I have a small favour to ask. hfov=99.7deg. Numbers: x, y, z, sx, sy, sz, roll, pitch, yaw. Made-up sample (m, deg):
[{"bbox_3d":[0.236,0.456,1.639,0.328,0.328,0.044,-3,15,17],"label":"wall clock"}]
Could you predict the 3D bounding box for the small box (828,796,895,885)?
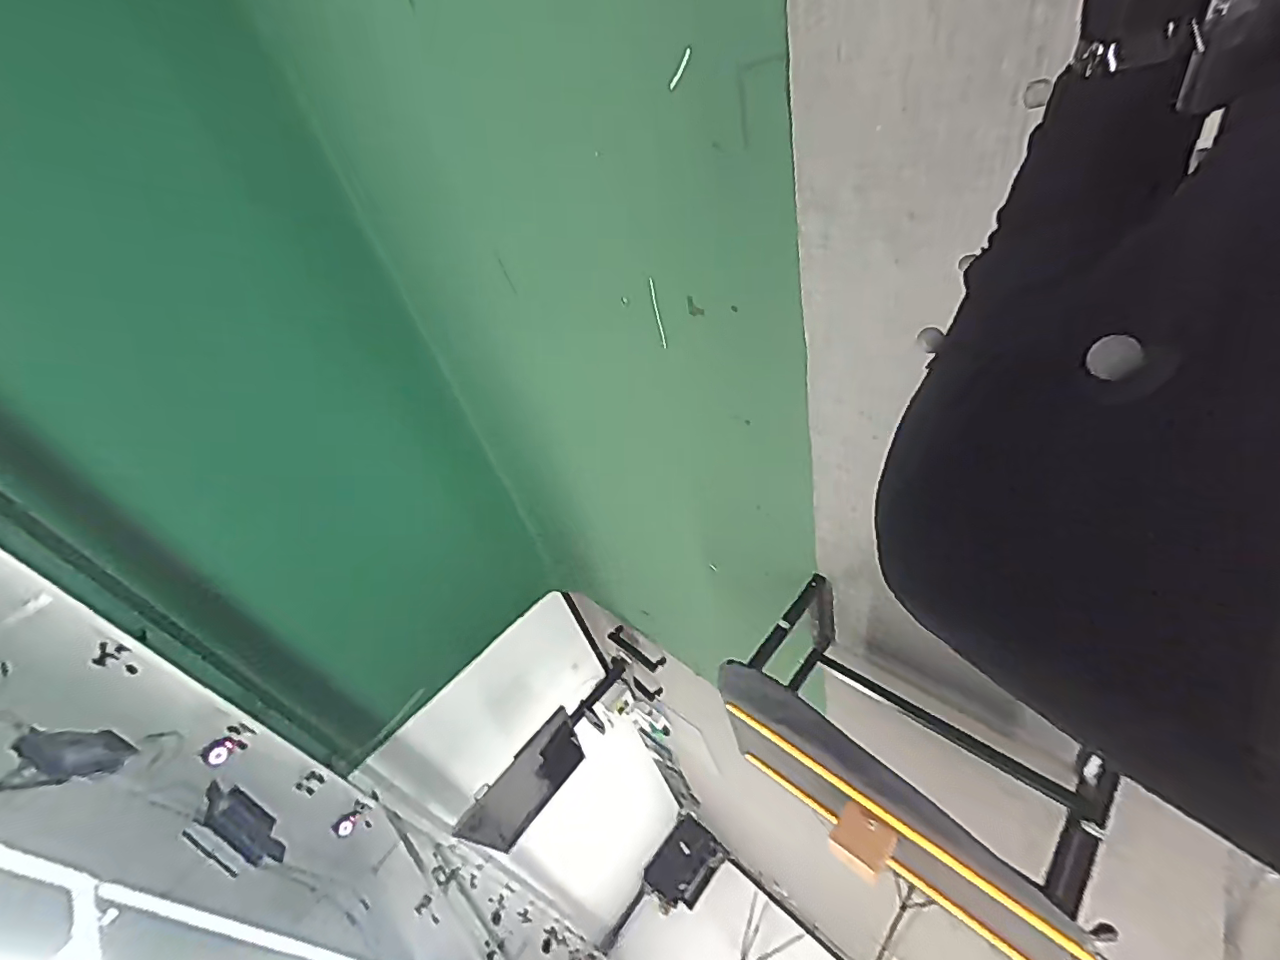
[{"bbox_3d":[0.781,1.262,1.900,0.168,0.176,0.179,20,141,41],"label":"small box"}]
